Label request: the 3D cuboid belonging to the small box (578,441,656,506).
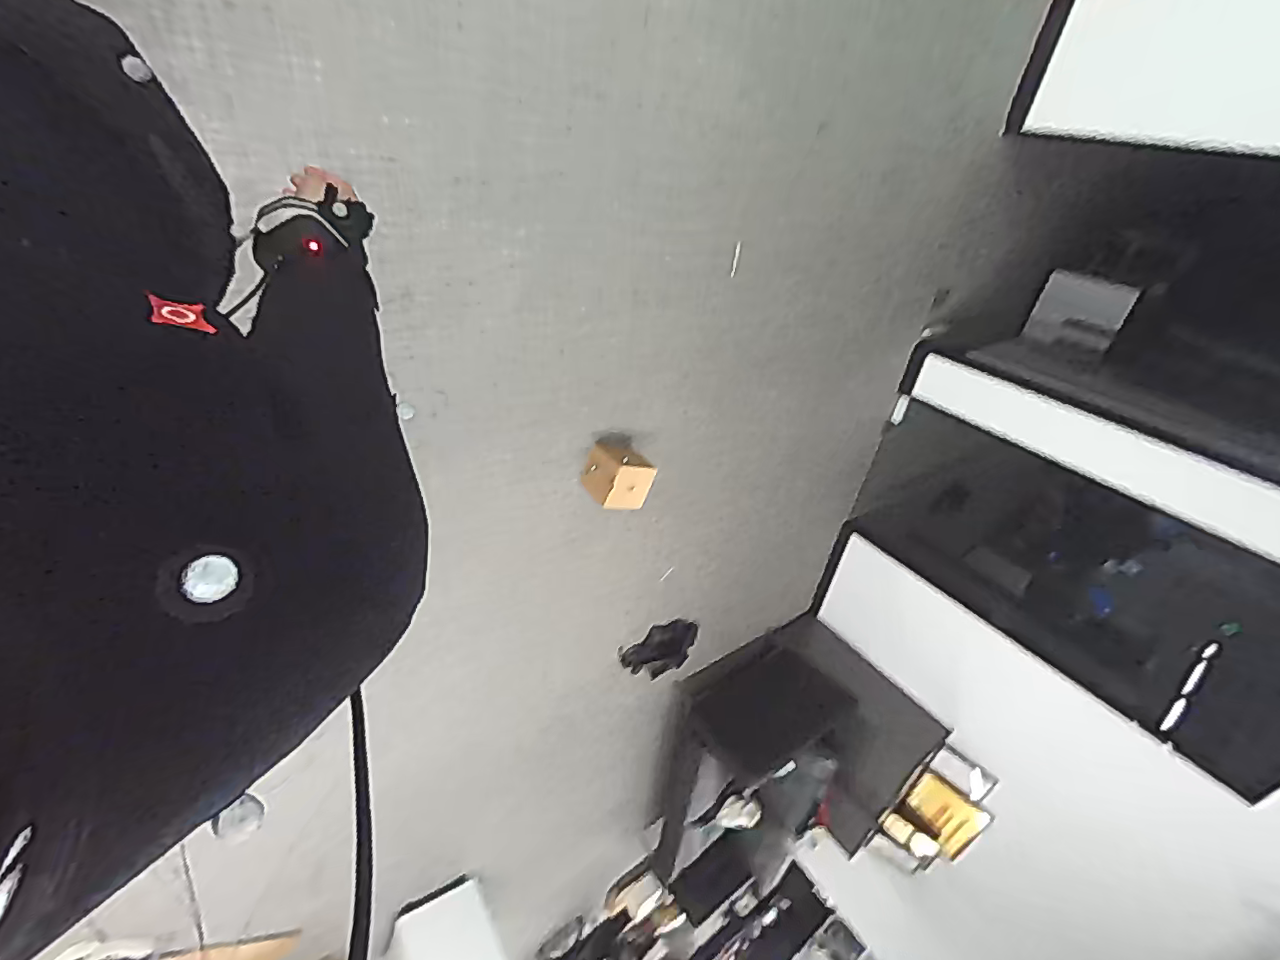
[{"bbox_3d":[-0.082,-0.023,1.878,0.179,0.176,0.168,2,120,-43],"label":"small box"}]
